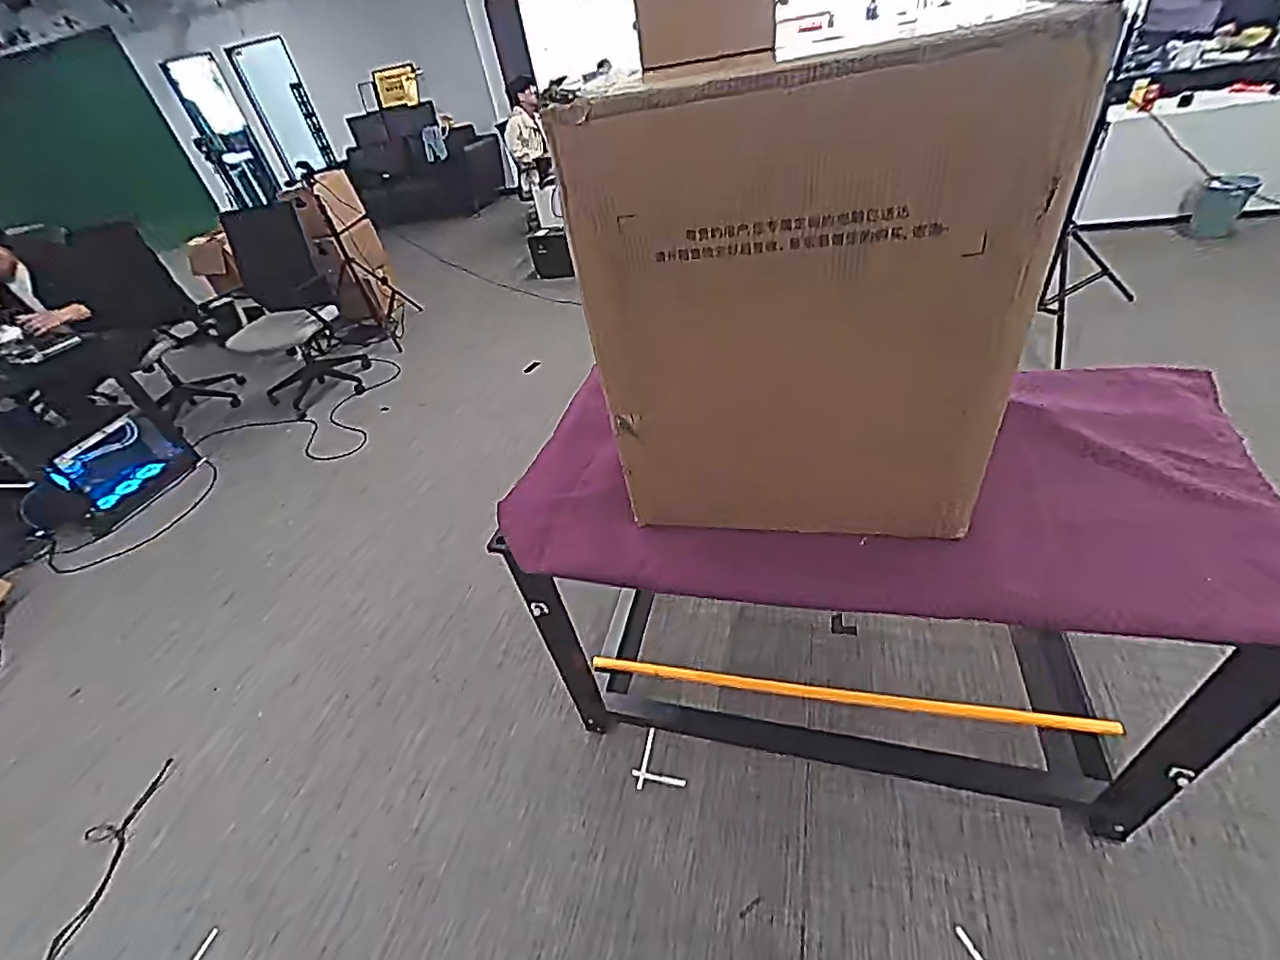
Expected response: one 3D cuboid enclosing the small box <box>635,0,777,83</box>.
[{"bbox_3d":[0.082,-0.618,0.672,0.168,0.176,0.179,-1,41,11],"label":"small box"}]
